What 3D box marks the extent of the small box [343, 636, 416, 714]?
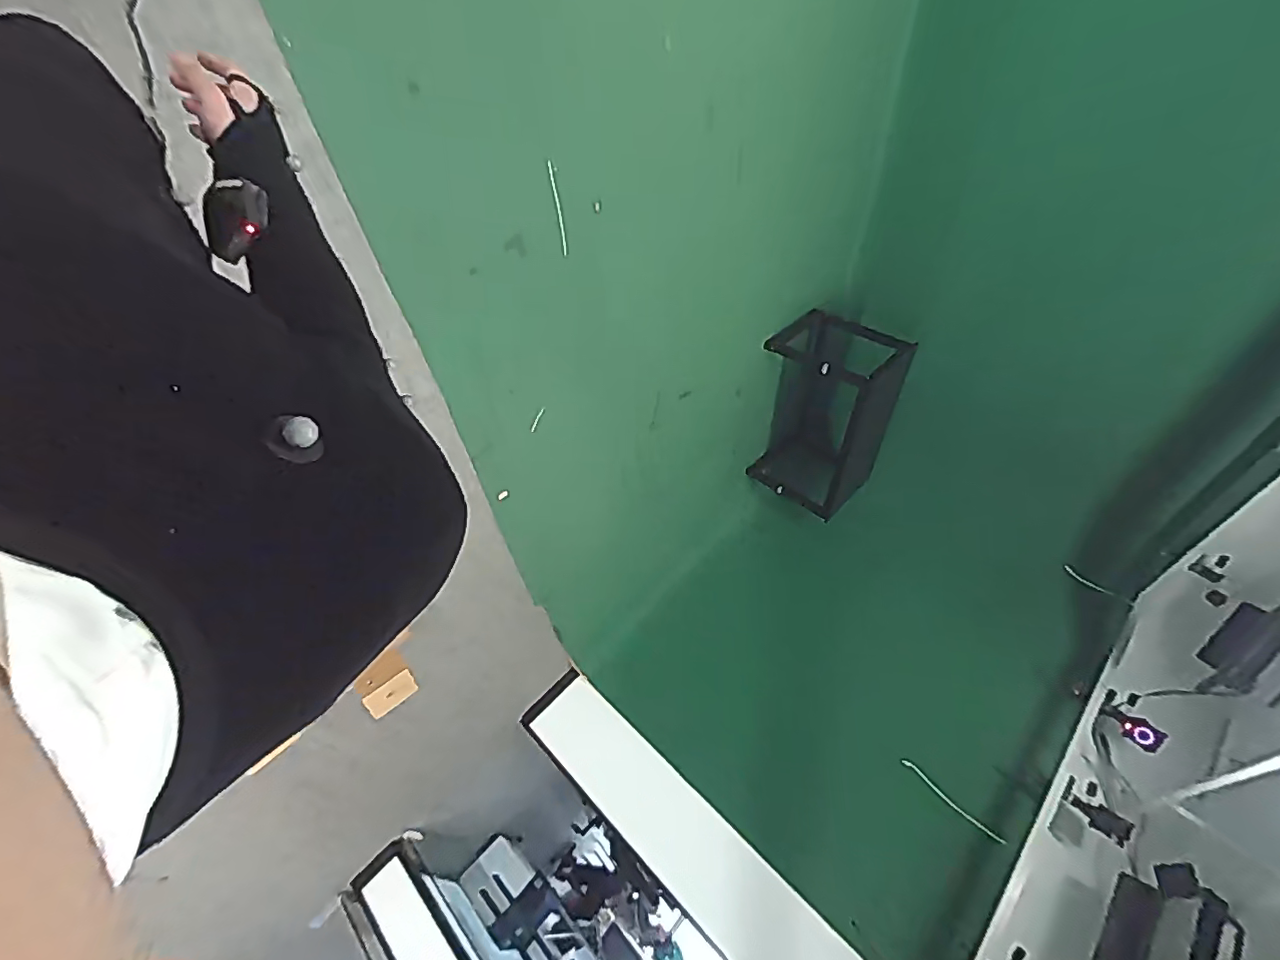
[{"bbox_3d":[-0.979,0.727,2.022,0.179,0.176,0.168,-34,144,-32],"label":"small box"}]
